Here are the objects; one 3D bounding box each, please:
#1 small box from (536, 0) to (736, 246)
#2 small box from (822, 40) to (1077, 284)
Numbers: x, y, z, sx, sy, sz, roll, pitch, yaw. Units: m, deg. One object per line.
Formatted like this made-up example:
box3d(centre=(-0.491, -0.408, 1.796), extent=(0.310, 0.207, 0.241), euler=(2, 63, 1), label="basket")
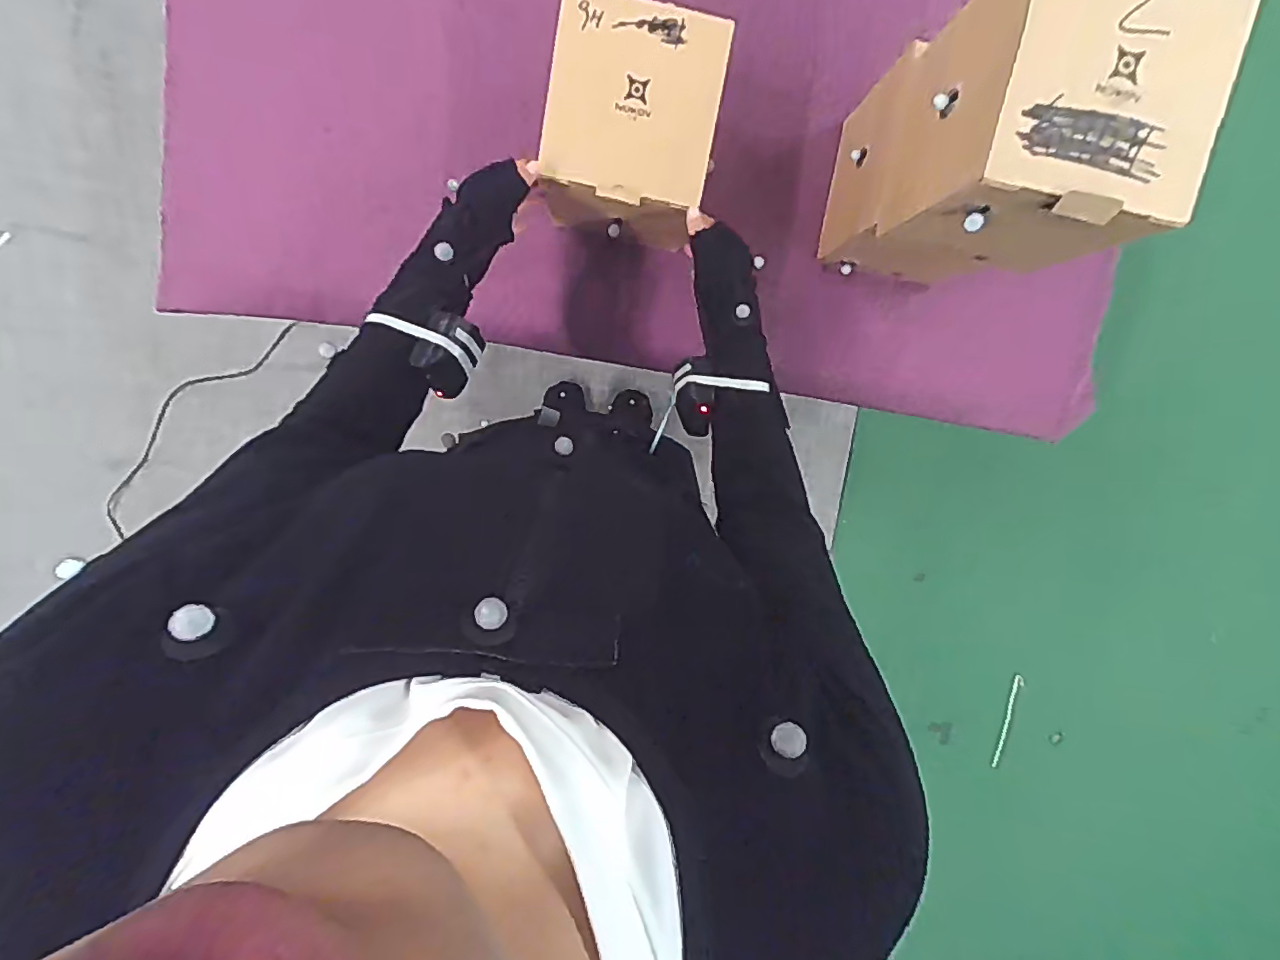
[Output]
box3d(centre=(-0.009, -0.377, 0.594), extent=(0.168, 0.176, 0.179), euler=(11, 100, -6), label="small box")
box3d(centre=(0.330, -0.338, 0.618), extent=(0.168, 0.176, 0.179), euler=(12, 100, -7), label="small box")
